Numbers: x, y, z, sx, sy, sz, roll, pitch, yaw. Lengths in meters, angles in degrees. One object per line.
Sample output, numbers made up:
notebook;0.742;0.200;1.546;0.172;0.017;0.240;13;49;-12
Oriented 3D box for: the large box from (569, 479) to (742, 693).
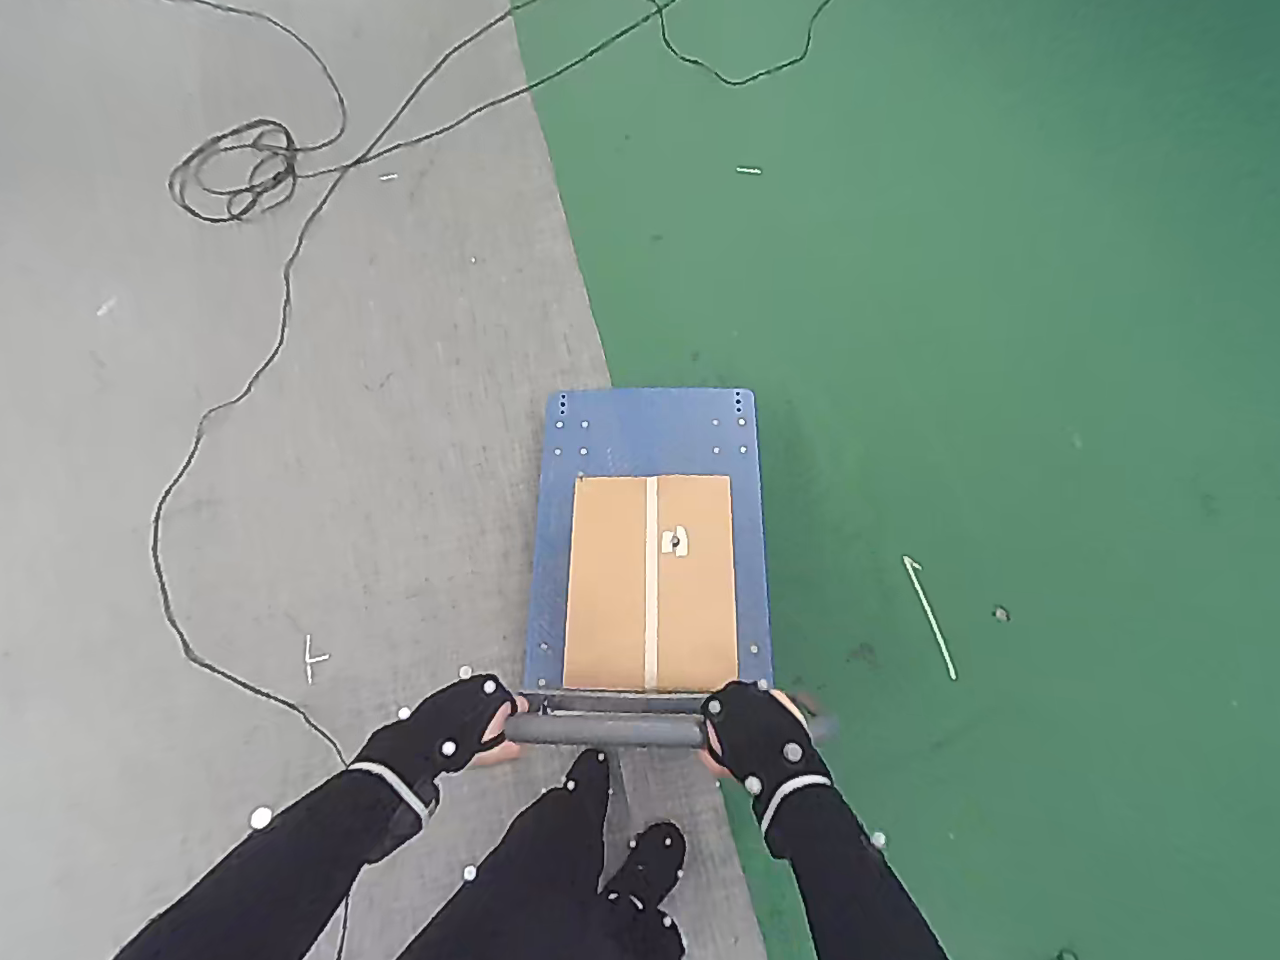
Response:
large box;0.035;0.240;1.163;0.320;0.320;0.408;-1;69;3
